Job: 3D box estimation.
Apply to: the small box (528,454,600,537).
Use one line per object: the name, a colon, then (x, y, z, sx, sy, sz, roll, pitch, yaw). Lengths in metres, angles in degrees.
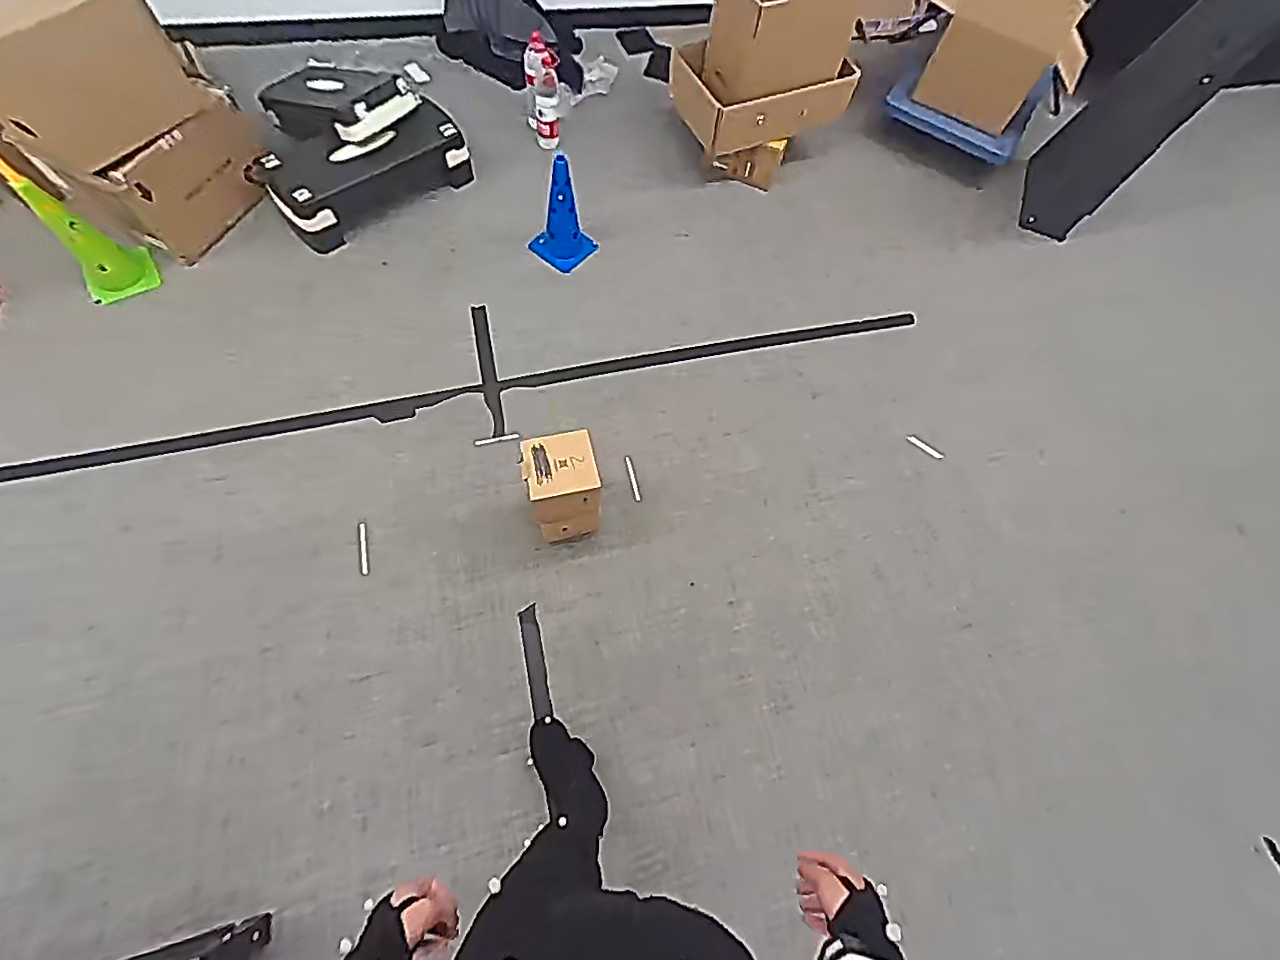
small box: (-0.215, 0.052, 1.552, 0.168, 0.176, 0.179, -14, 69, -12)
